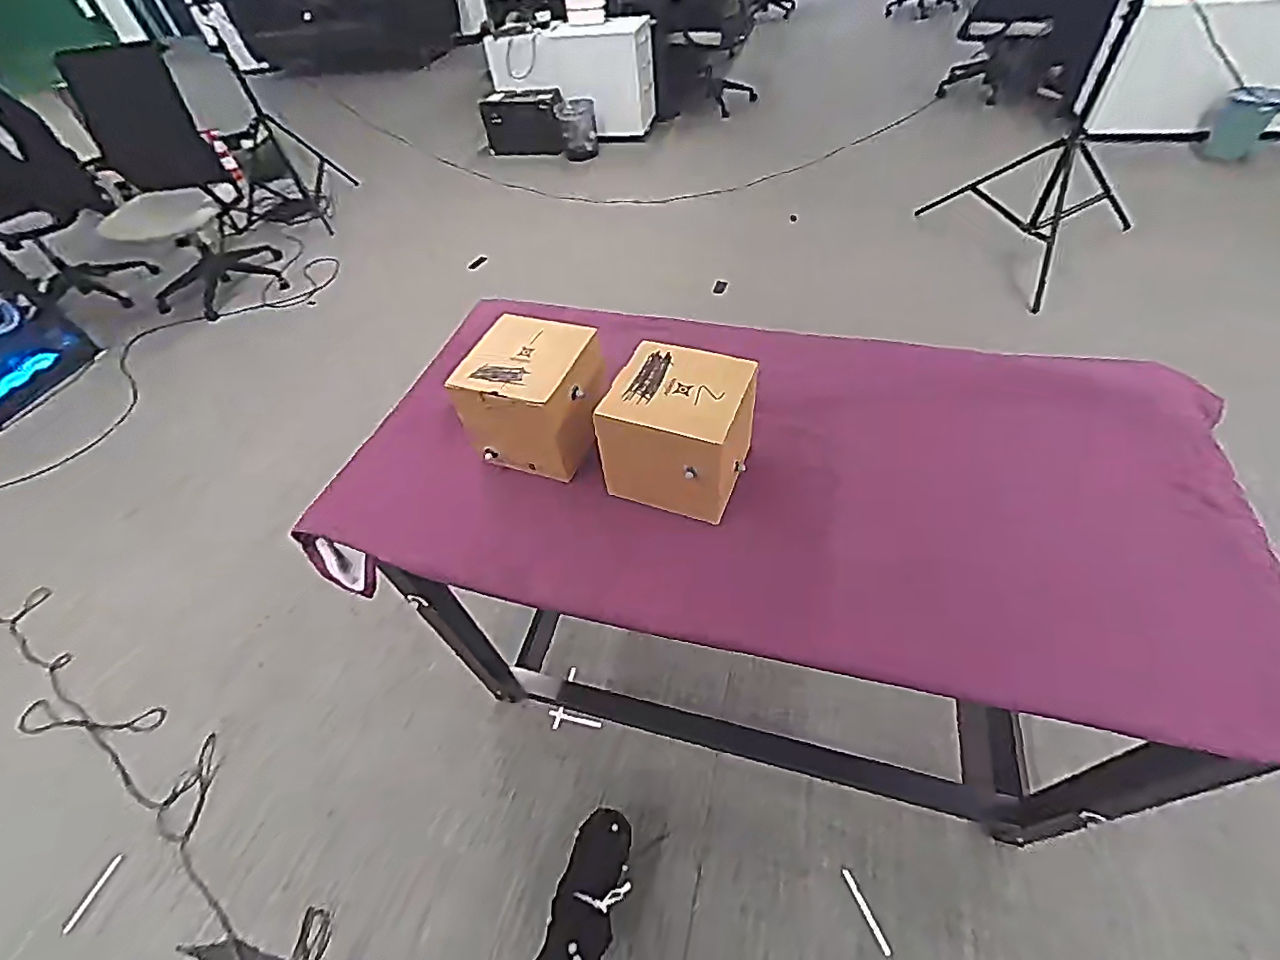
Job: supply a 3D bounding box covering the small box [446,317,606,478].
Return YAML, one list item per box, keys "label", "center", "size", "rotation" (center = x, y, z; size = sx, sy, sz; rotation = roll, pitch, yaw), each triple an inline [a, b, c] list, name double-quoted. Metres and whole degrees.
- label: "small box"
  center: [-0.164, -0.127, 0.853]
  size: [0.168, 0.176, 0.179]
  rotation: [14, 53, 17]
